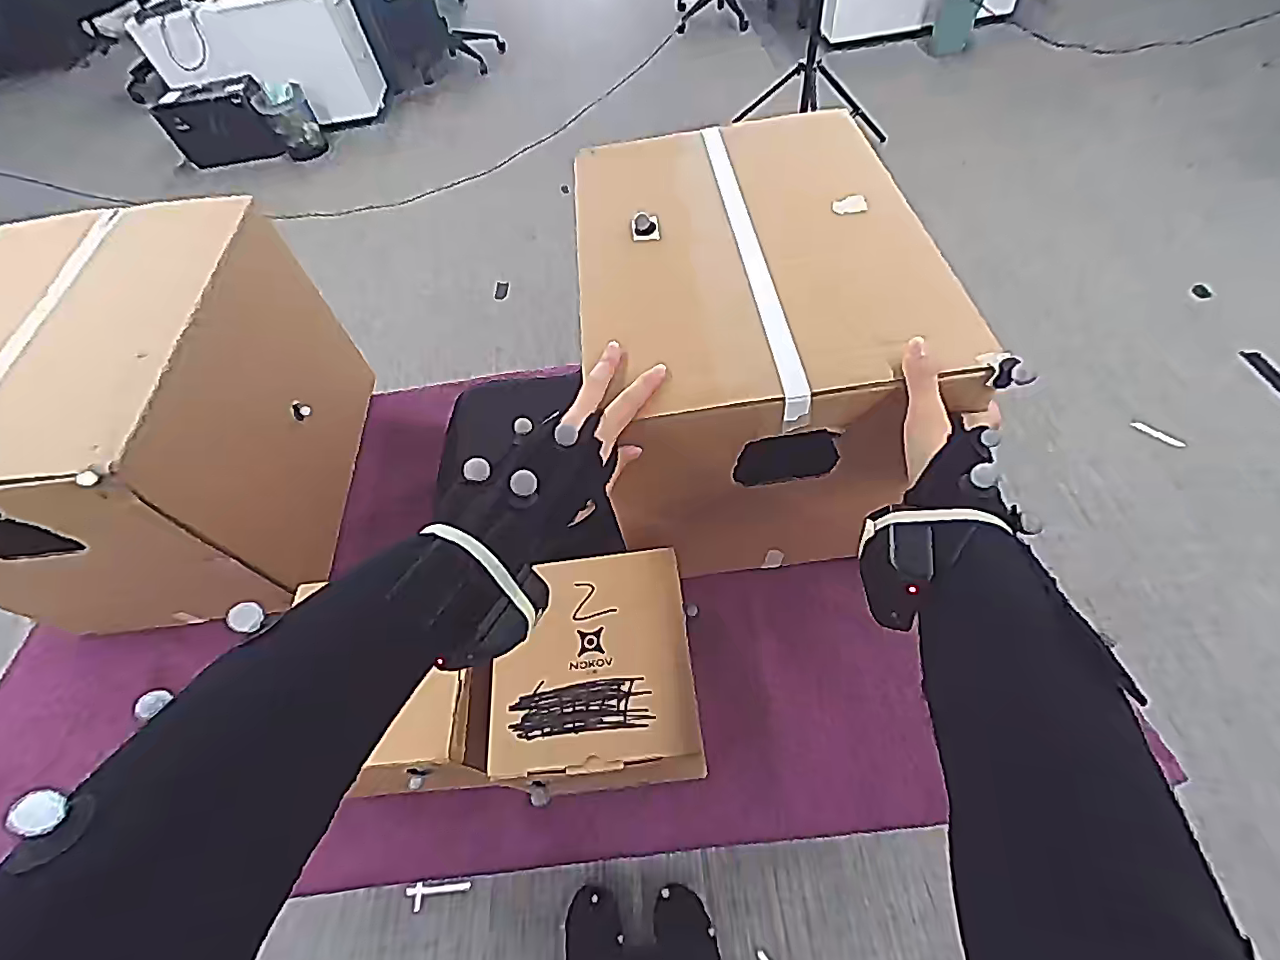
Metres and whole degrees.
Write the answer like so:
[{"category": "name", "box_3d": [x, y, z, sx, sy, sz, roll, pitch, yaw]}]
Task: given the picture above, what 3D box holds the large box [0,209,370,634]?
[{"category": "large box", "box_3d": [-0.578, -0.064, 0.671, 0.320, 0.320, 0.408, -8, 58, 0]}]
